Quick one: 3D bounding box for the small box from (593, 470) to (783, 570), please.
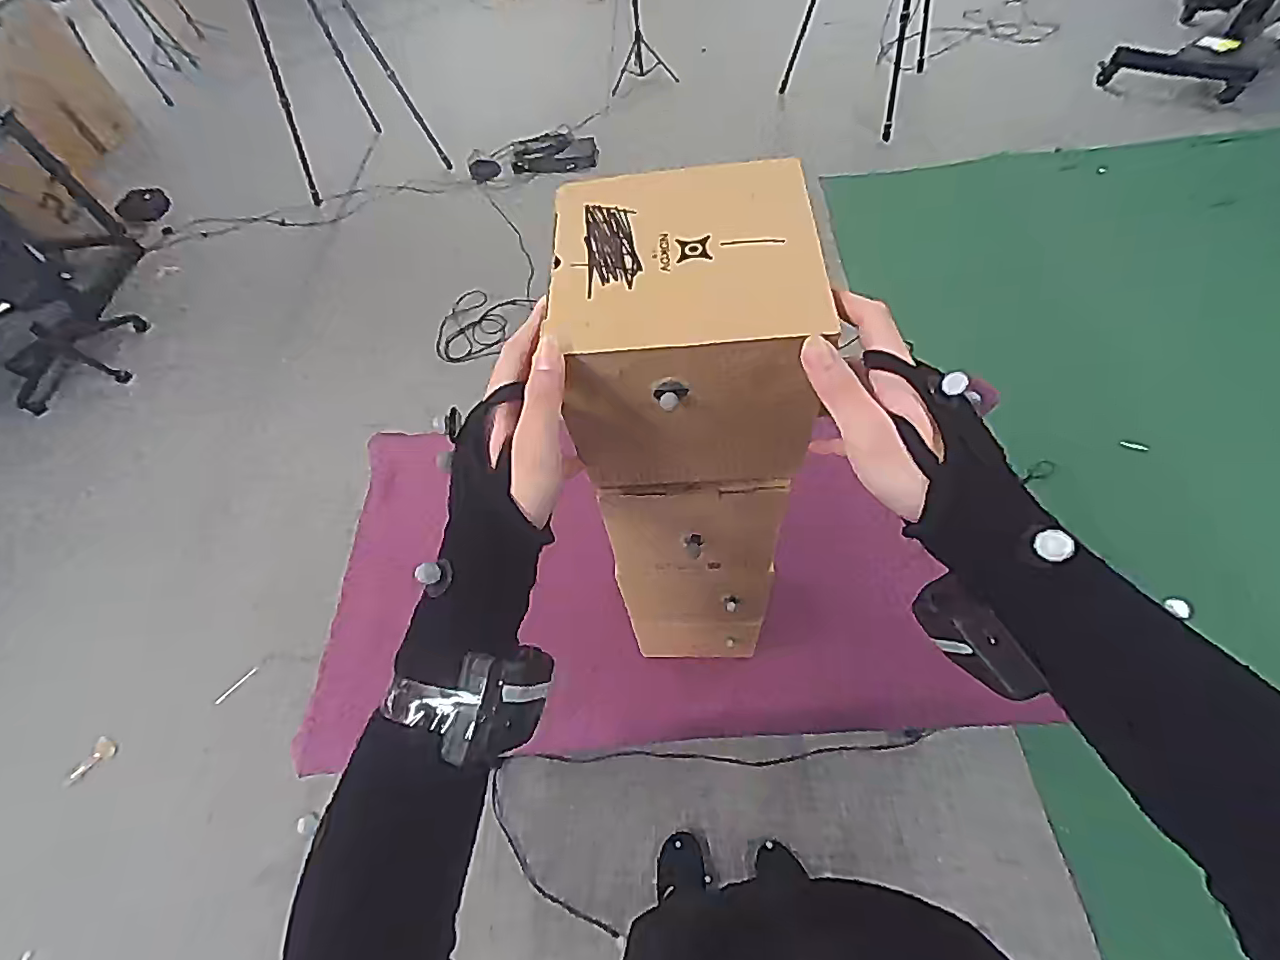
[{"bbox_3d":[0.052,-0.014,0.567,0.168,0.176,0.179,-1,57,6],"label":"small box"}]

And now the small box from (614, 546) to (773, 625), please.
[{"bbox_3d":[0.069,0.081,0.698,0.179,0.176,0.168,-2,56,7],"label":"small box"}]

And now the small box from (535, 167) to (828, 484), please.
[{"bbox_3d":[0.033,-0.107,0.422,0.179,0.176,0.168,-4,60,6],"label":"small box"}]
